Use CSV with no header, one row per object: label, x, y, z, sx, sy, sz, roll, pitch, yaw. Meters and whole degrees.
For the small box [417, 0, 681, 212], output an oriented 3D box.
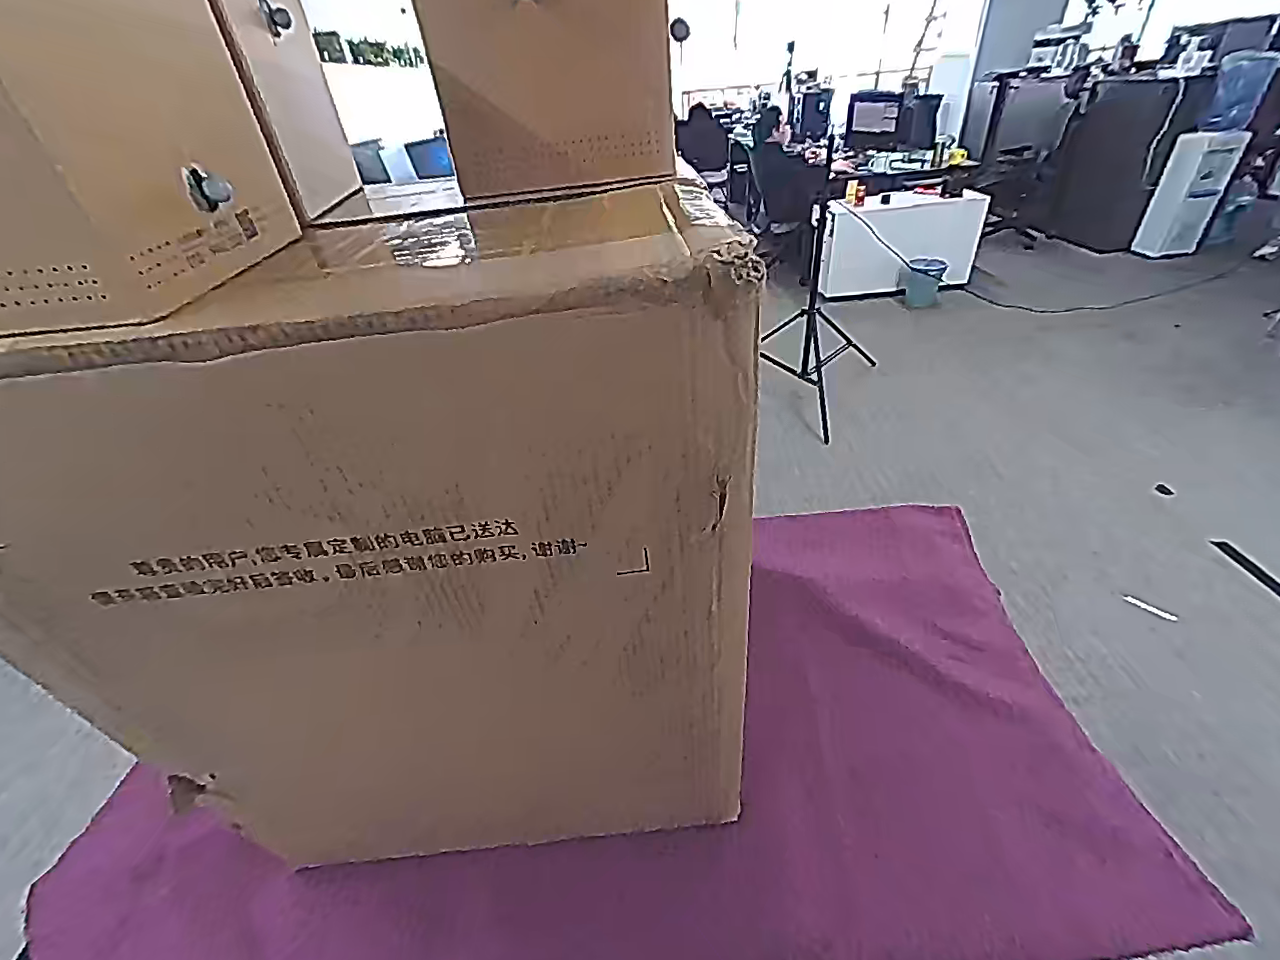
small box,-0.056,-0.335,0.447,0.179,0.176,0.168,-4,37,5
